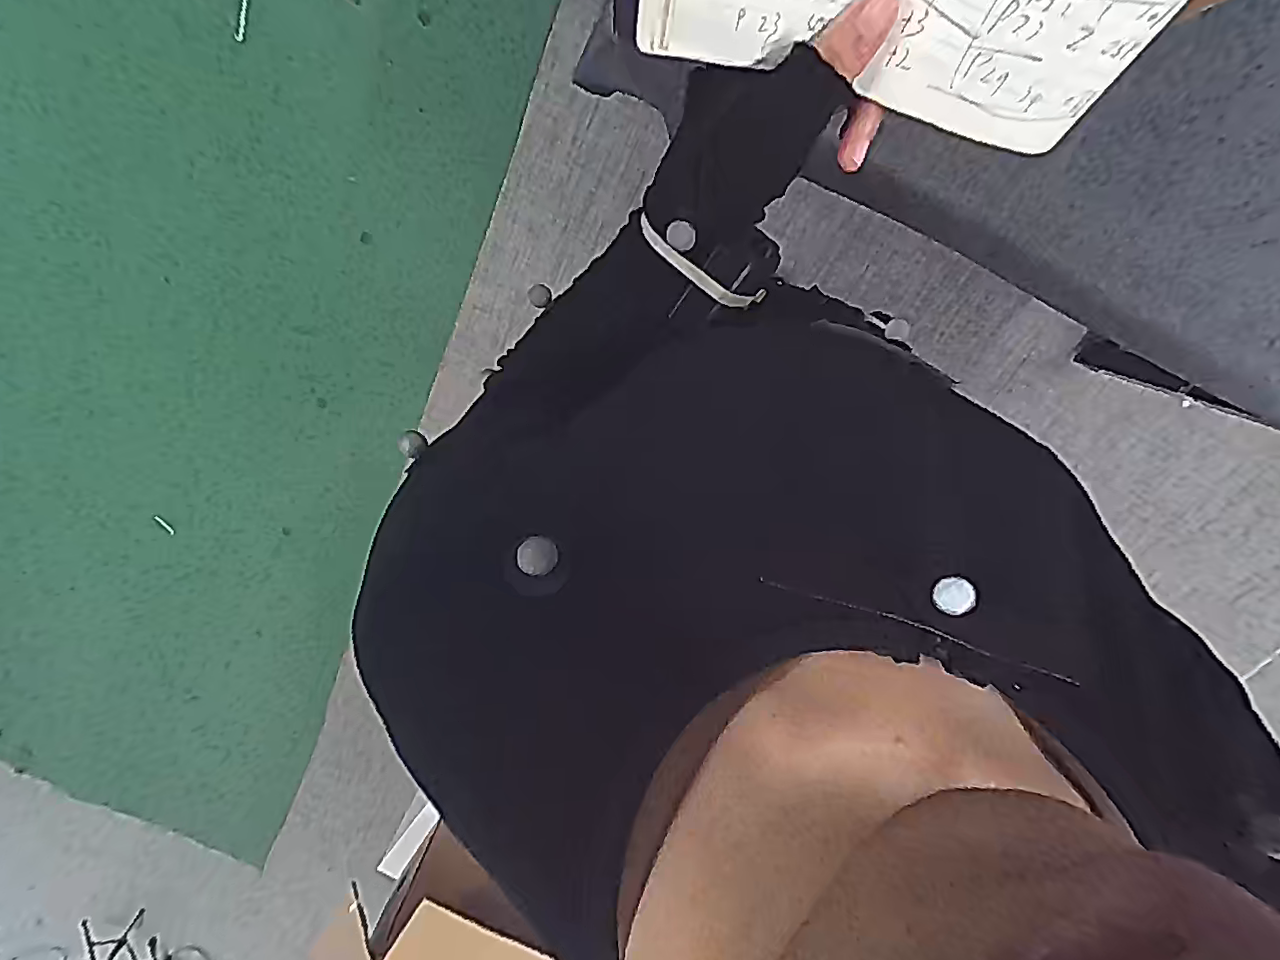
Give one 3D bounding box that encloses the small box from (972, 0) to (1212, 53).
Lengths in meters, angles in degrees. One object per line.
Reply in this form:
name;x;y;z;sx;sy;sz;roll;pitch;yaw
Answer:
small box;0.399;-0.489;0.423;0.168;0.176;0.179;22;113;-3
